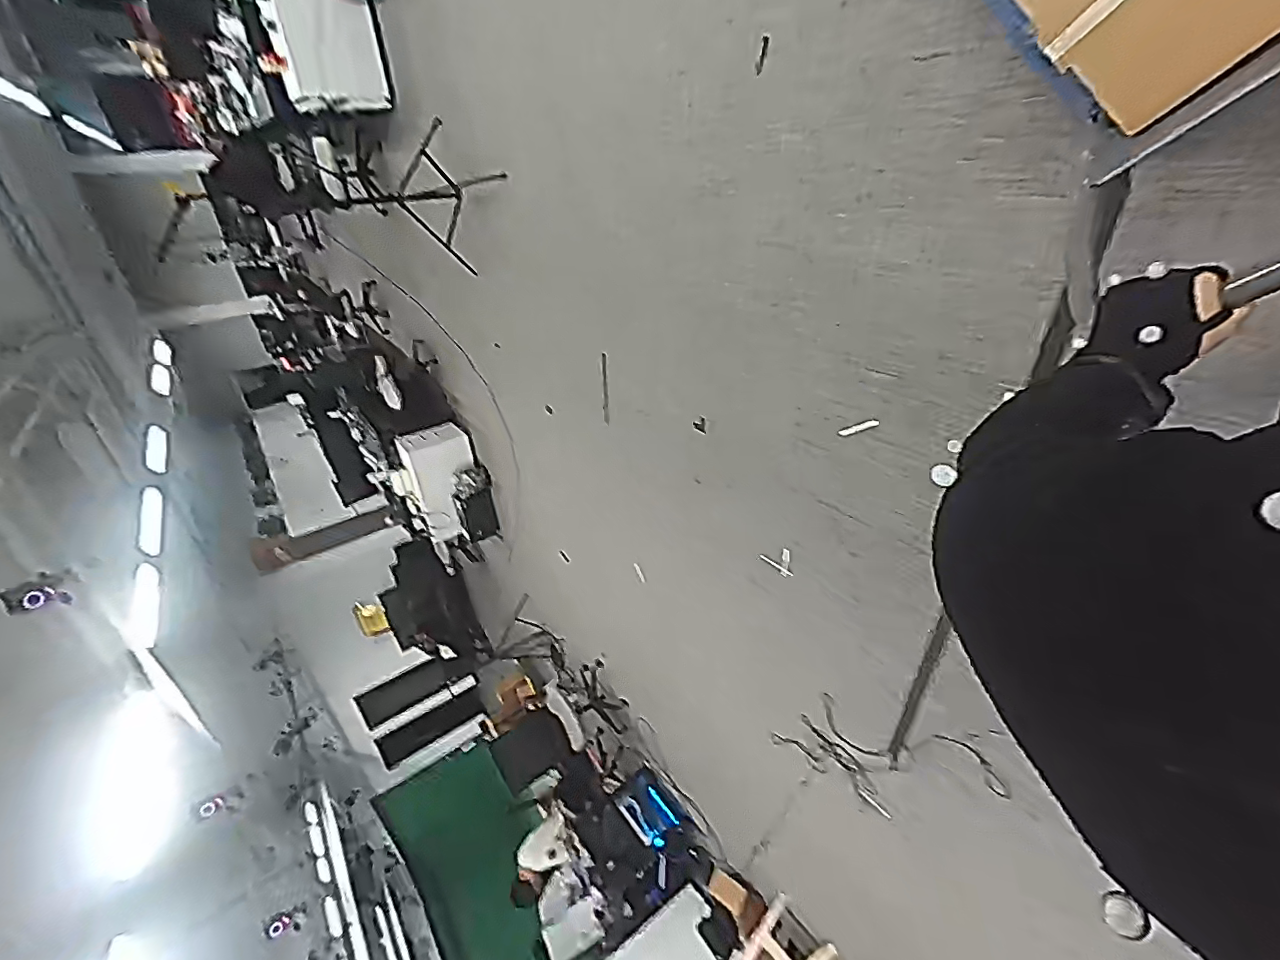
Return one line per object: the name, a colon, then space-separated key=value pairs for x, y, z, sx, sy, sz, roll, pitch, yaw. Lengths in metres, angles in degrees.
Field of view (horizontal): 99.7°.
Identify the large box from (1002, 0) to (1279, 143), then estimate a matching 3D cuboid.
large box: x=0.696 y=-0.697 z=0.601 sx=0.320 sy=0.320 sz=0.408 roll=44 pitch=149 yaw=-5
